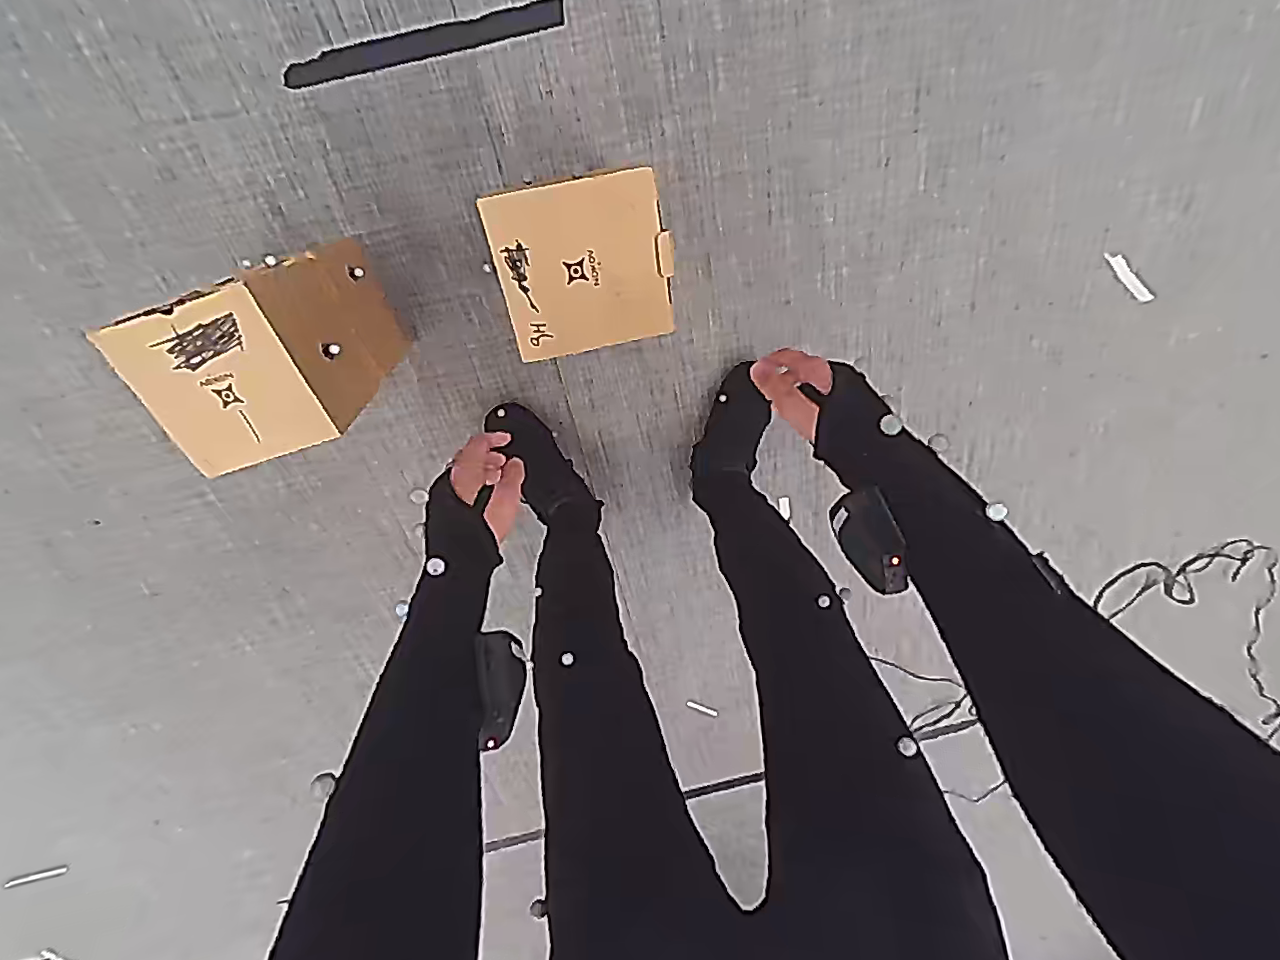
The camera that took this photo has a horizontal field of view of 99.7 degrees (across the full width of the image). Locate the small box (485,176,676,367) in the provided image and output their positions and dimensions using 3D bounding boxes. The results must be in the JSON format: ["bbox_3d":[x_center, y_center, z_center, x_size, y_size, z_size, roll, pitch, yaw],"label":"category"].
[{"bbox_3d":[-0.068,-0.249,0.628,0.179,0.176,0.168,-12,120,-4],"label":"small box"}]

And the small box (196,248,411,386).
[{"bbox_3d":[-0.458,-0.218,0.771,0.168,0.176,0.179,-19,121,2],"label":"small box"}]

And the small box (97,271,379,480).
[{"bbox_3d":[-0.440,-0.132,0.633,0.168,0.176,0.179,-17,121,1],"label":"small box"}]
